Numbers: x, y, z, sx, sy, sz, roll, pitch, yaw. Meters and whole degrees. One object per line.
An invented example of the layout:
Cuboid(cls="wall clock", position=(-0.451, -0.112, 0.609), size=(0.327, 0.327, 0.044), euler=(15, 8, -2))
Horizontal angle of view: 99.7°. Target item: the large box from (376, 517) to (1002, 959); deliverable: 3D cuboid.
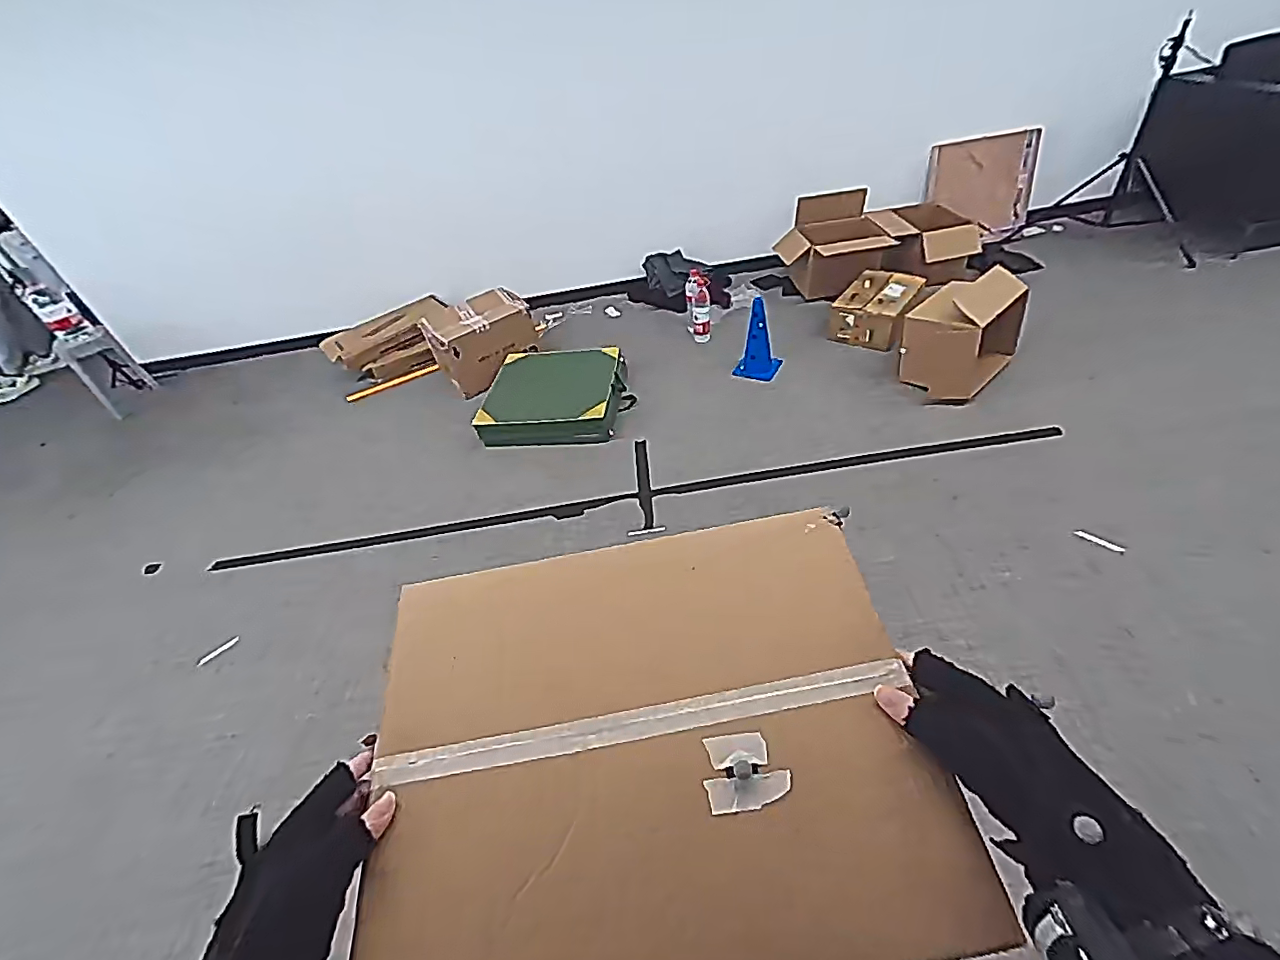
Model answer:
Cuboid(cls="large box", position=(0.021, 0.281, 0.534), size=(0.408, 0.320, 0.320), euler=(-11, 53, -1))
